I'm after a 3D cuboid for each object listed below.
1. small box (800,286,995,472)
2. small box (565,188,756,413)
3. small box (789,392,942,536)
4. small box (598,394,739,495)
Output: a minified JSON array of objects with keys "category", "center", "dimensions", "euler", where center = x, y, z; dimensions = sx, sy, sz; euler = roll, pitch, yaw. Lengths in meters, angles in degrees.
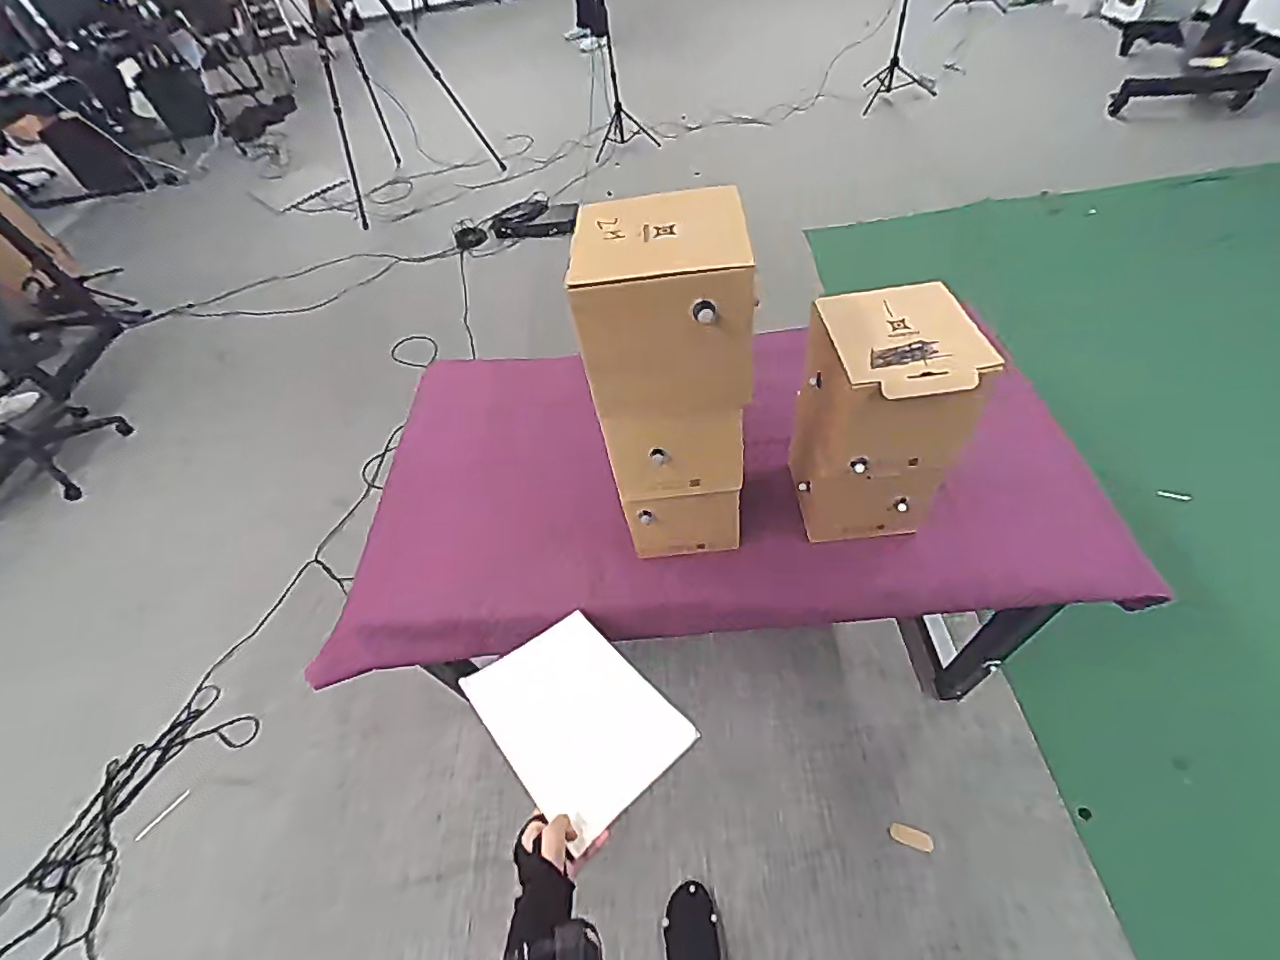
[{"category":"small box","center":[0.316,-0.124,0.709],"dimensions":[0.168,0.176,0.179],"euler":[-6,50,4]},{"category":"small box","center":[0.029,-0.192,0.598],"dimensions":[0.179,0.176,0.168],"euler":[-4,50,7]},{"category":"small box","center":[0.333,-0.025,0.838],"dimensions":[0.168,0.176,0.179],"euler":[-5,50,5]},{"category":"small box","center":[0.043,-0.093,0.730],"dimensions":[0.168,0.176,0.179],"euler":[-6,50,6]}]
